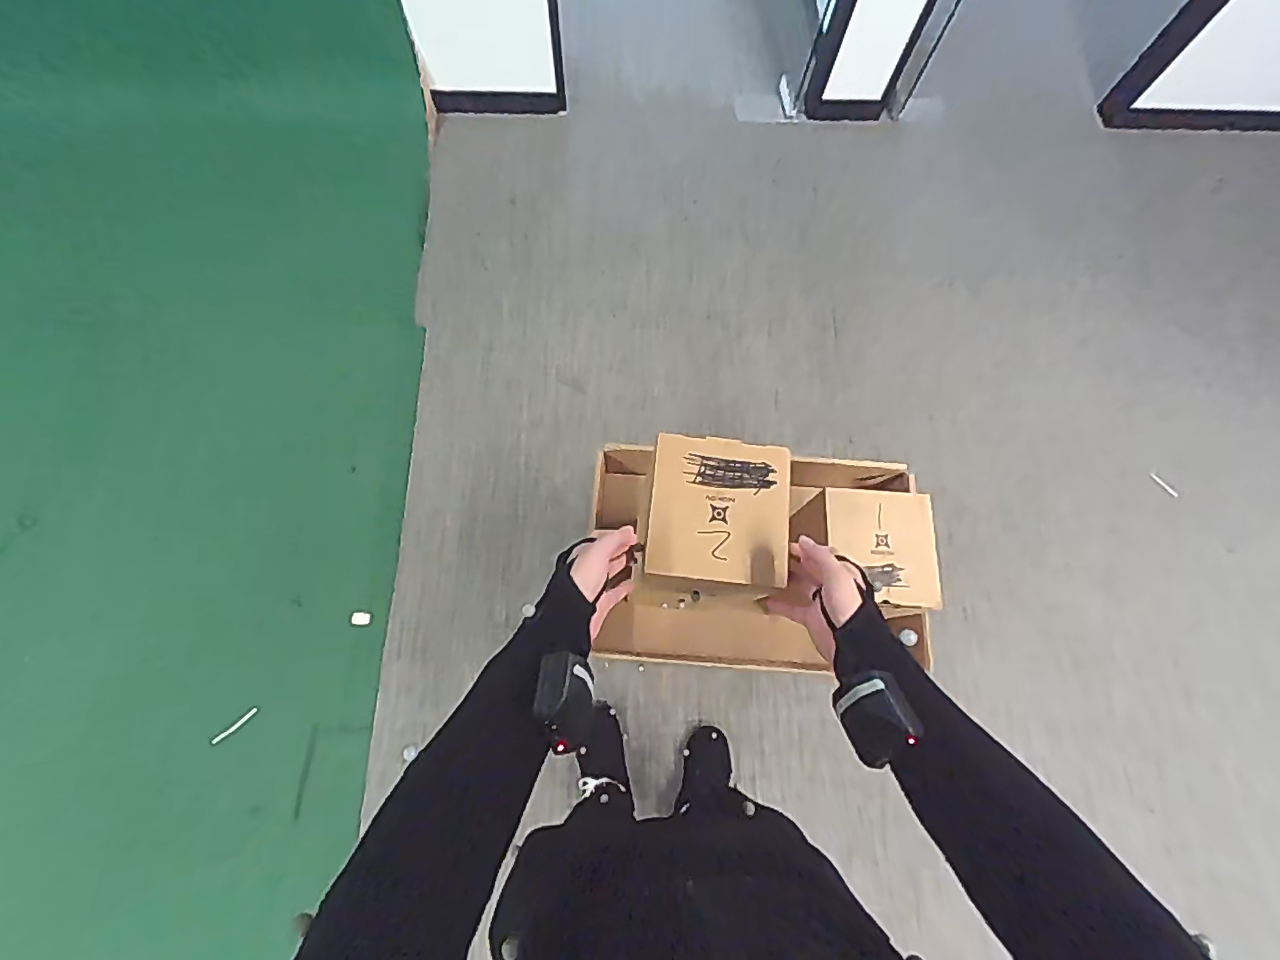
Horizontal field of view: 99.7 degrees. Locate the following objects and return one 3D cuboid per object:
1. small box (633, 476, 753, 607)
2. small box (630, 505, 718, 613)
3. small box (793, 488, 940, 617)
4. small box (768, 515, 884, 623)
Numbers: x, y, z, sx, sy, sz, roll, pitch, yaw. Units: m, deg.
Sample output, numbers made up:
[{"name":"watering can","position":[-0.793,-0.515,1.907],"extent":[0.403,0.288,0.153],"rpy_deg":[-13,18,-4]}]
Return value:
[{"name":"small box","position":[0.079,0.107,0.871],"extent":[0.168,0.176,0.179],"rpy_deg":[6,72,-1]},{"name":"small box","position":[0.071,0.150,1.029],"extent":[0.168,0.176,0.179],"rpy_deg":[6,72,1]},{"name":"small box","position":[0.354,0.124,0.877],"extent":[0.168,0.176,0.179],"rpy_deg":[4,71,-1]},{"name":"small box","position":[0.348,0.176,1.033],"extent":[0.168,0.176,0.179],"rpy_deg":[5,72,0]}]
